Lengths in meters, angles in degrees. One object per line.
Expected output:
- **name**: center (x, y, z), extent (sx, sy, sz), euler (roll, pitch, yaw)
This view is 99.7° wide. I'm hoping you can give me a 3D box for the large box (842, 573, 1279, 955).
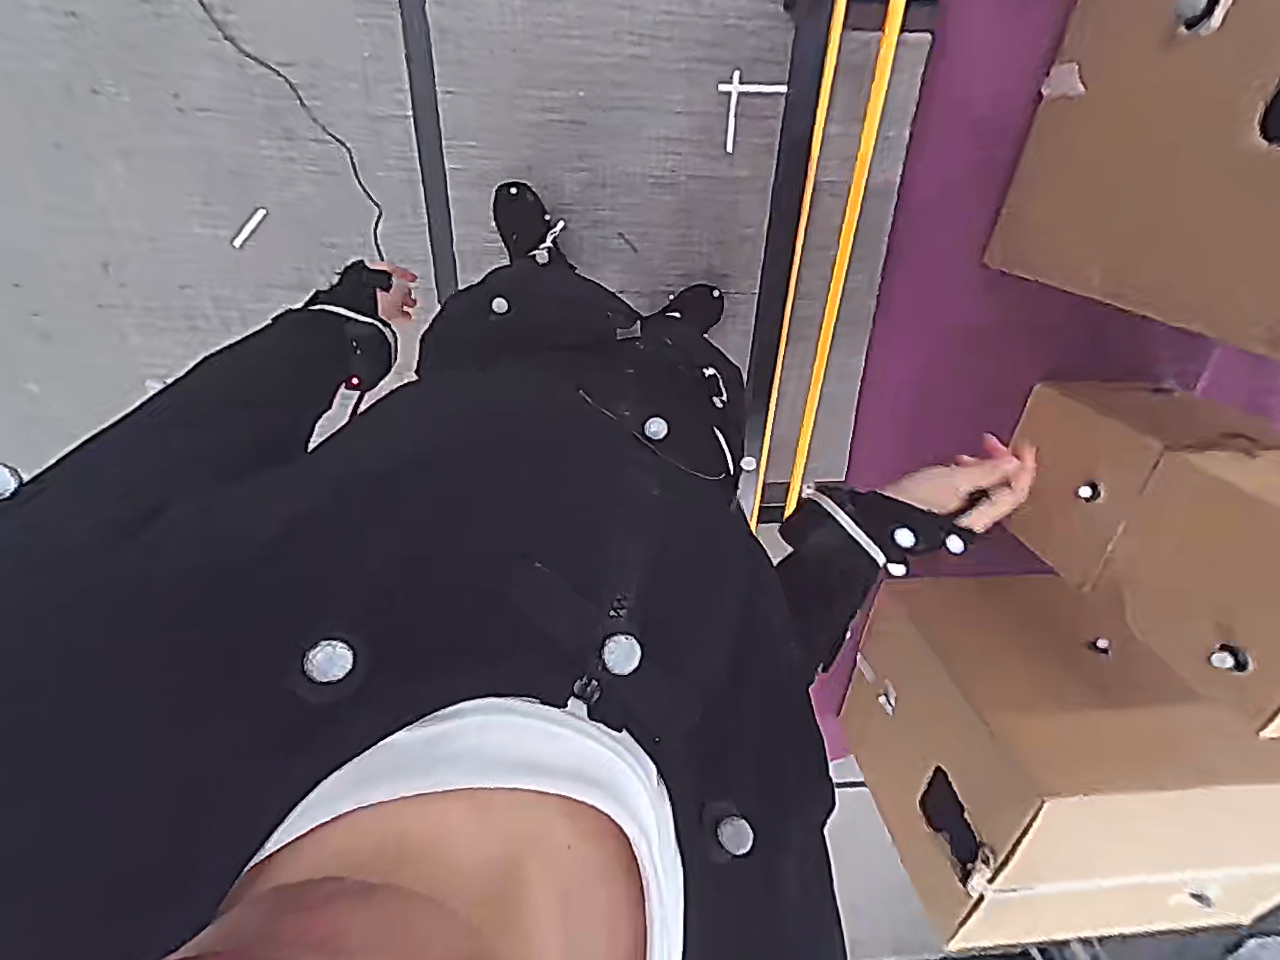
- **large box**: center (0.539, 0.342, 0.705), extent (0.408, 0.320, 0.320), euler (-1, 120, -6)
